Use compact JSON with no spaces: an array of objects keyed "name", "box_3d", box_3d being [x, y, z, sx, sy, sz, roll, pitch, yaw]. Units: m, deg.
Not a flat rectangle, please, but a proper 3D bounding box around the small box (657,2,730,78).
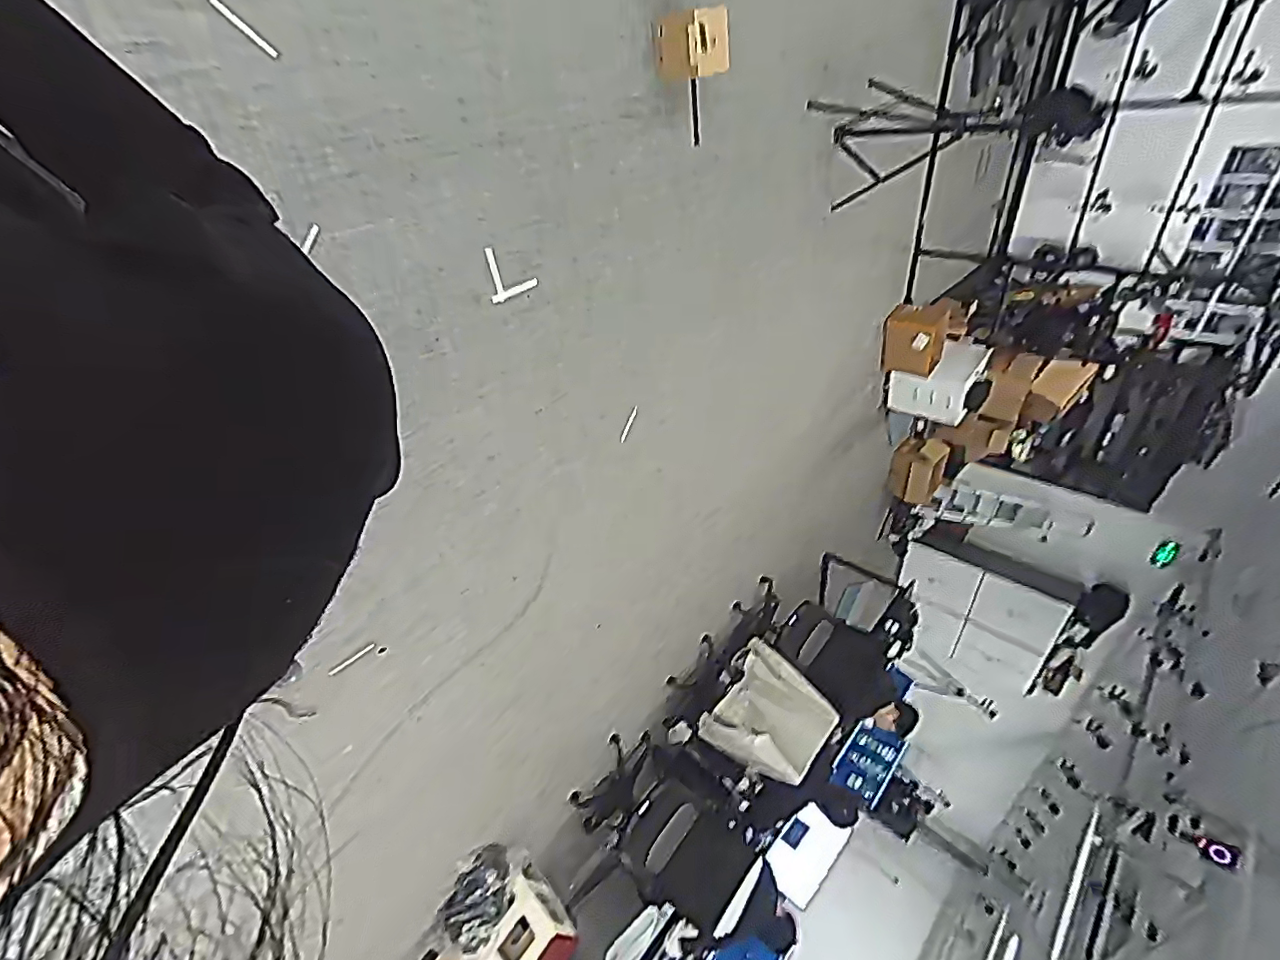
[{"name":"small box","box_3d":[0.169,-1.425,1.753,0.179,0.176,0.168,-38,136,-31]}]
